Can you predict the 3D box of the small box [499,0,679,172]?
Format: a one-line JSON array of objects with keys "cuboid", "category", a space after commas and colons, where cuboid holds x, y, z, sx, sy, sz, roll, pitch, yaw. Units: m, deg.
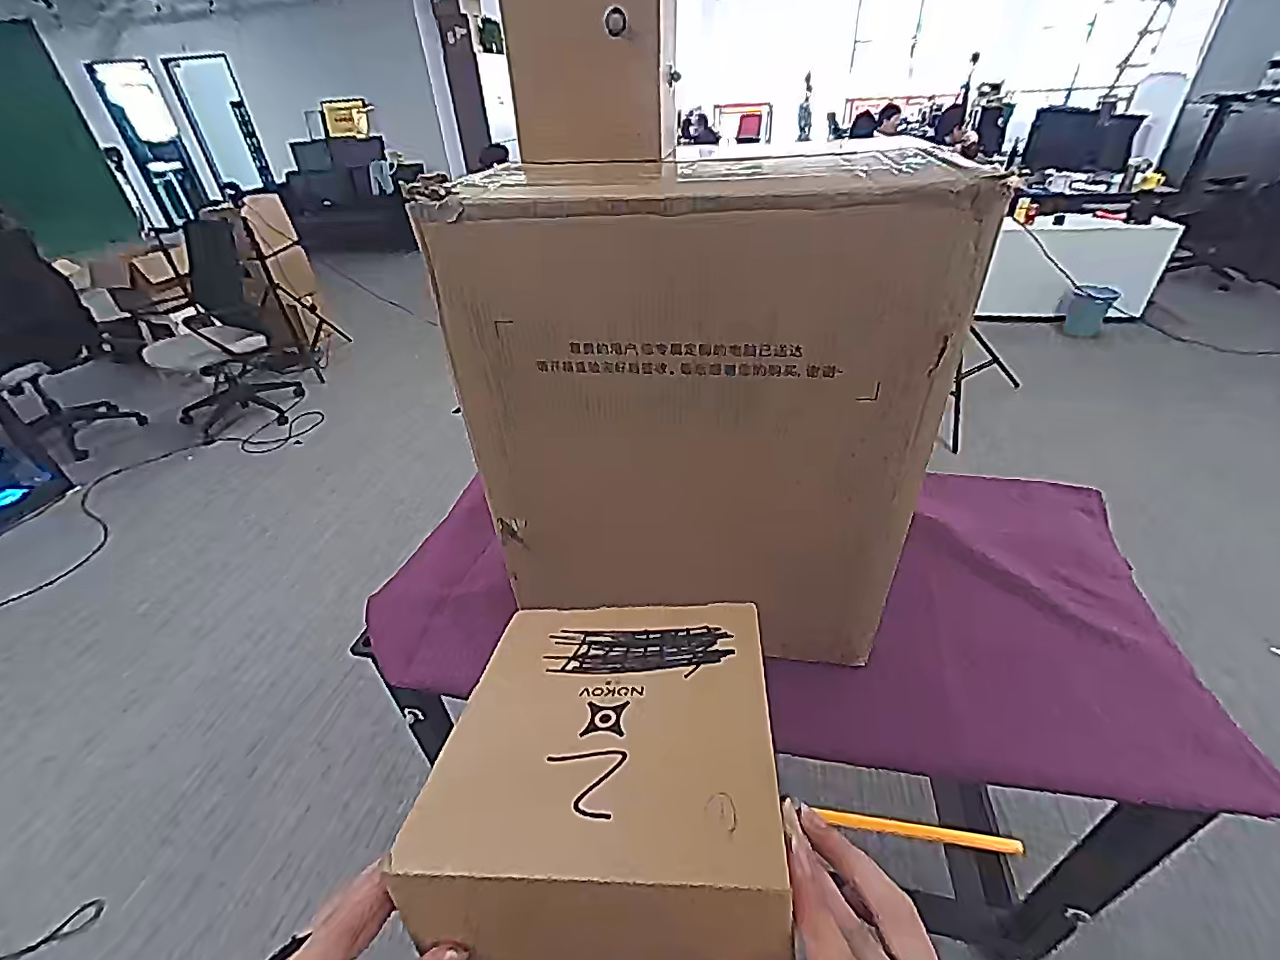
[{"cuboid": [-0.049, -0.483, 0.659, 0.179, 0.176, 0.168, 4, 36, 9], "category": "small box"}]
